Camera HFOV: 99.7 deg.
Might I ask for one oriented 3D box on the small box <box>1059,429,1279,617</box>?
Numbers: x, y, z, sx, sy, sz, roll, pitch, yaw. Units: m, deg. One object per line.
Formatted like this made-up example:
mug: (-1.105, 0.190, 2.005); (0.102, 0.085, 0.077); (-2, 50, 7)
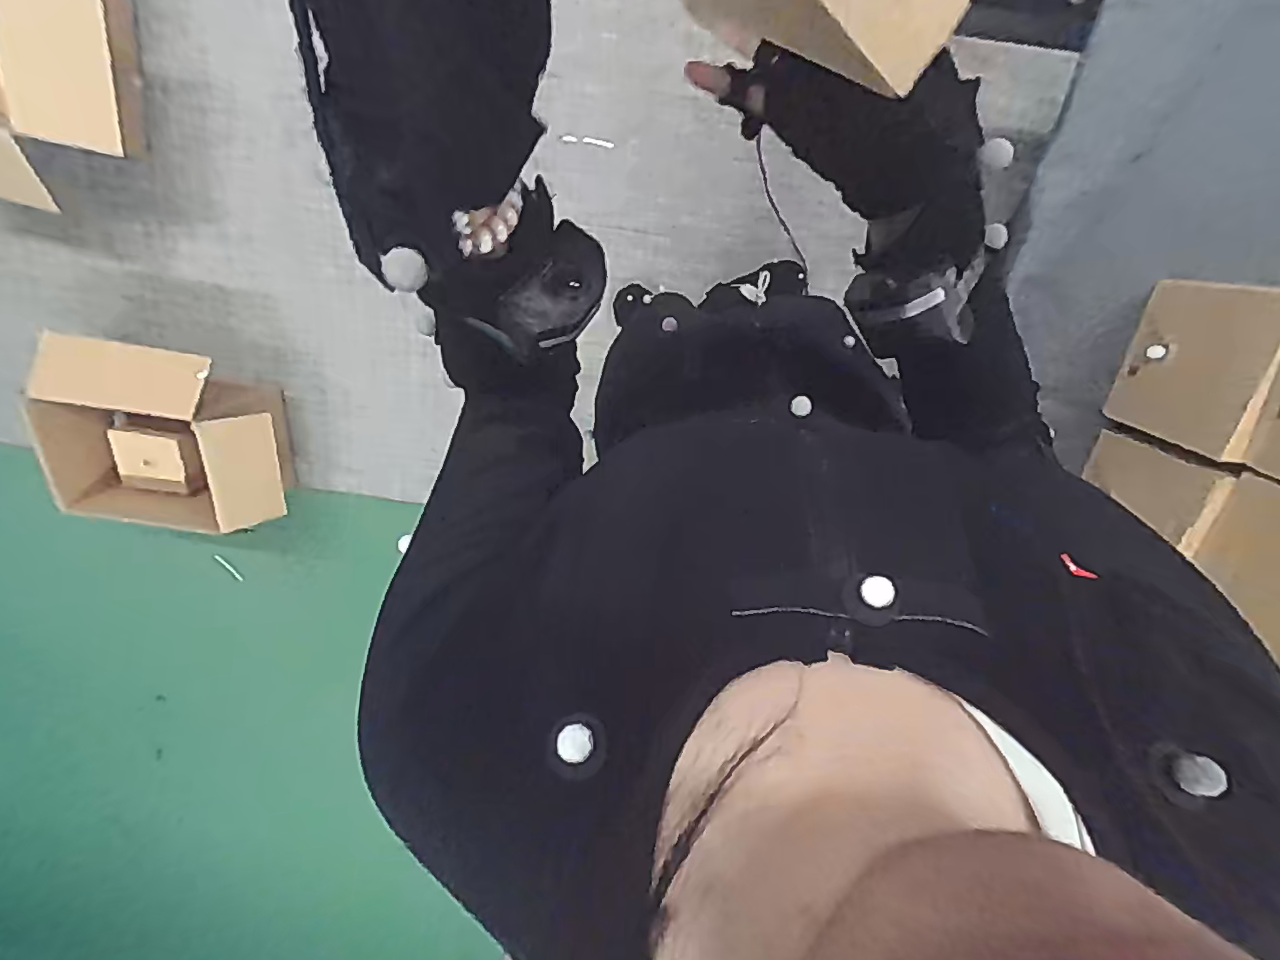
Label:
small box: (0.678, 0.043, 0.660); (0.179, 0.176, 0.168); (6, 112, 0)
